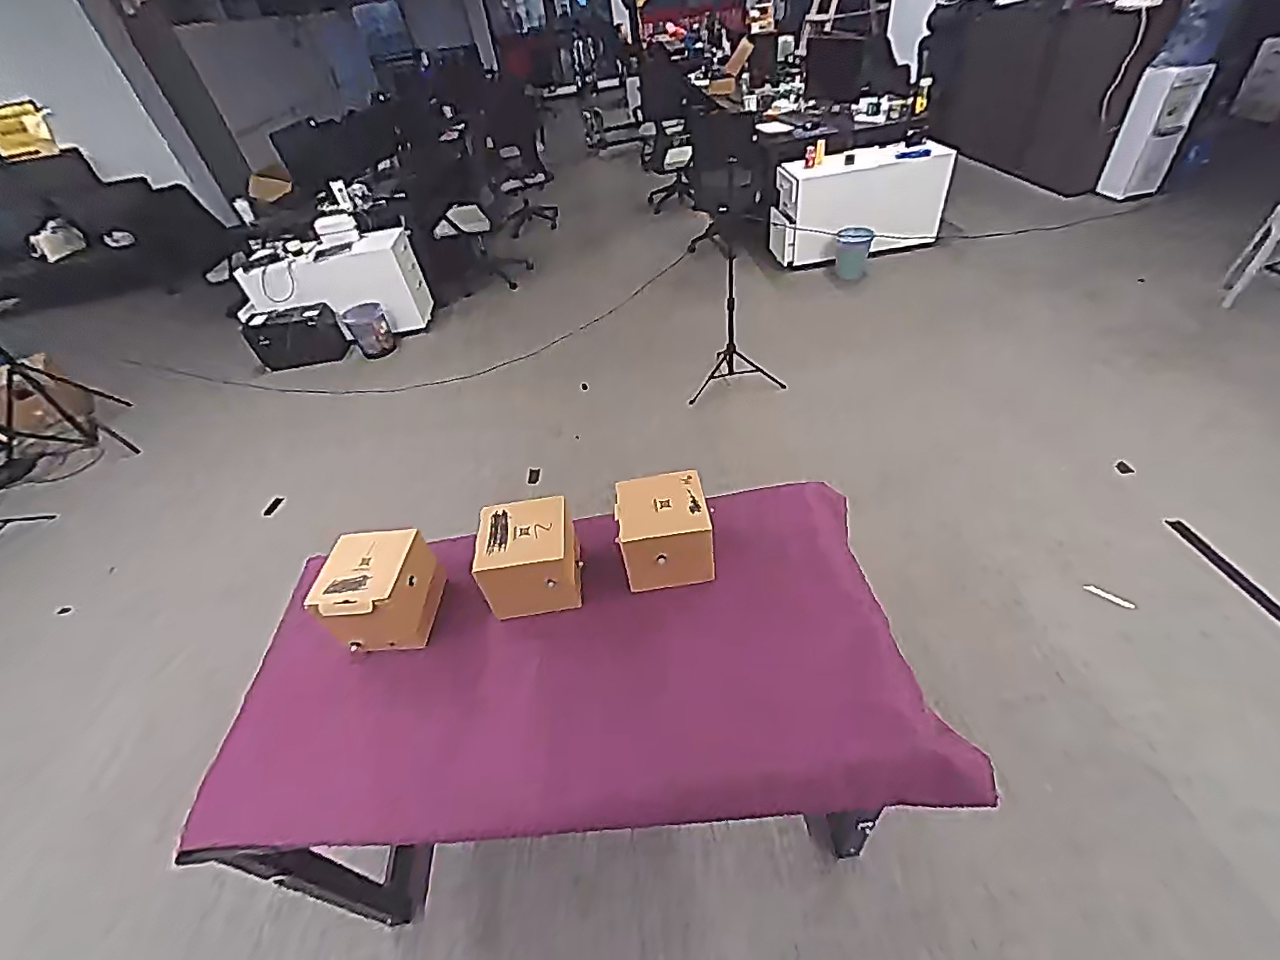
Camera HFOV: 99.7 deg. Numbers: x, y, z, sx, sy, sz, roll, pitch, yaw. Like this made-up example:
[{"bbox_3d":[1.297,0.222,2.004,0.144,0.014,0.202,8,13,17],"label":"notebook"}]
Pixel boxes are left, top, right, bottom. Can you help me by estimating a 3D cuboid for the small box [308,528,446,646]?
[{"bbox_3d":[-0.513,0.221,1.087,0.168,0.176,0.179,-4,43,5],"label":"small box"}]
